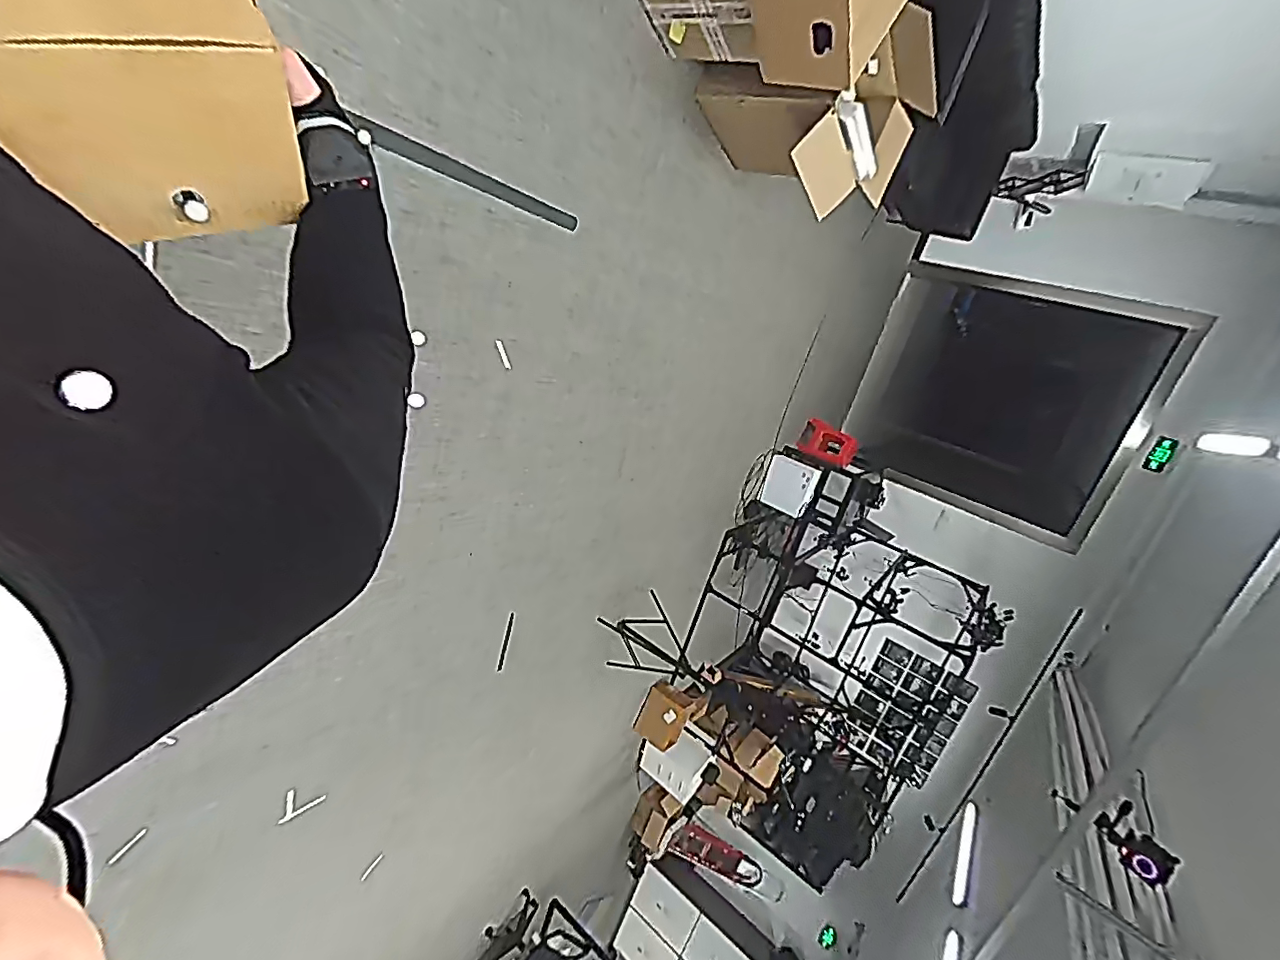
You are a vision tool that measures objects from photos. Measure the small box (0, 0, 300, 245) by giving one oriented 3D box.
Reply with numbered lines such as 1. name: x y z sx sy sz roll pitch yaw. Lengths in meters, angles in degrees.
1. small box: -0.388 -0.312 0.417 0.179 0.168 0.176 -25 175 -29
